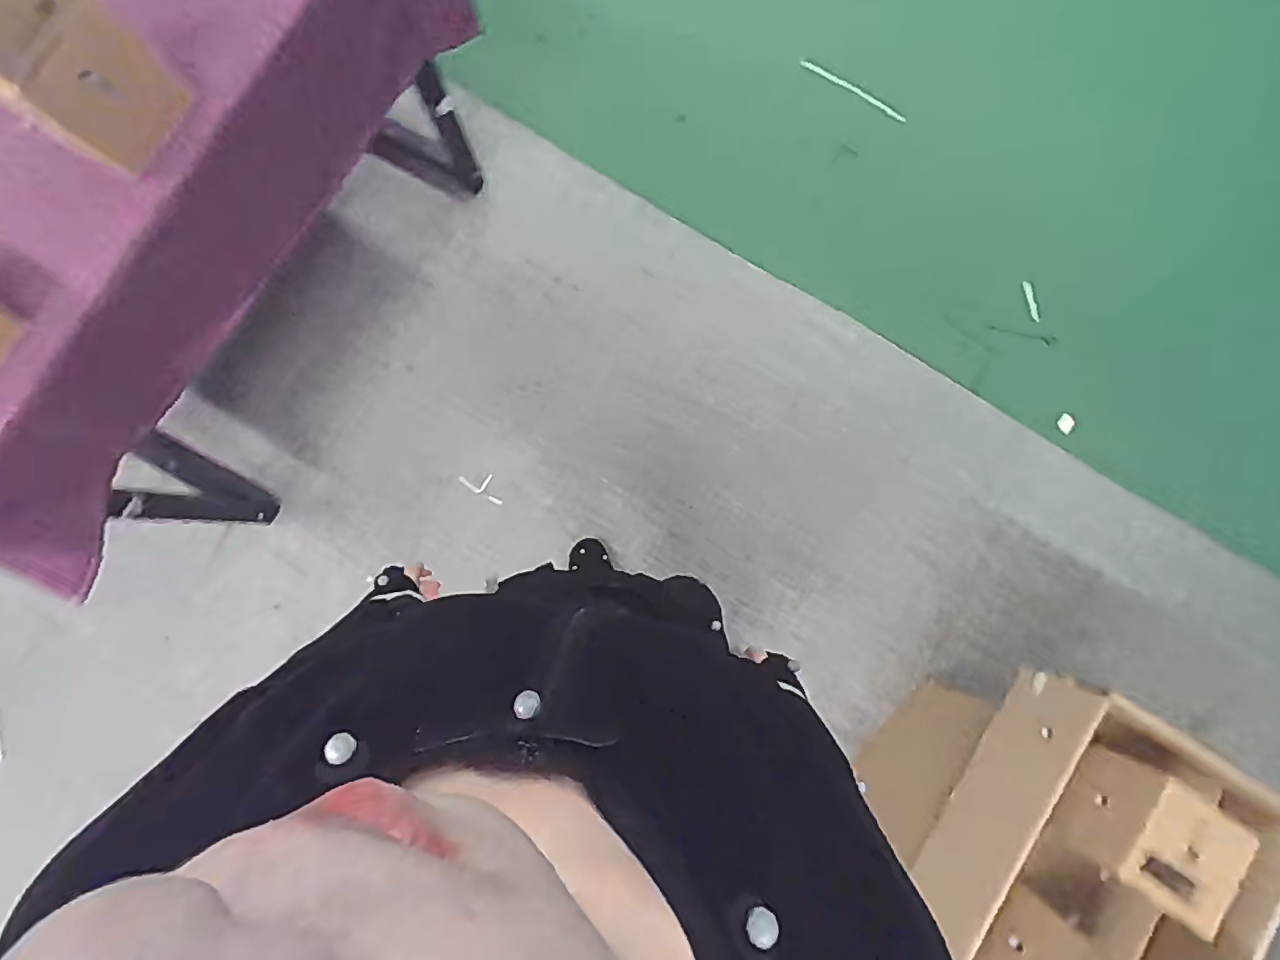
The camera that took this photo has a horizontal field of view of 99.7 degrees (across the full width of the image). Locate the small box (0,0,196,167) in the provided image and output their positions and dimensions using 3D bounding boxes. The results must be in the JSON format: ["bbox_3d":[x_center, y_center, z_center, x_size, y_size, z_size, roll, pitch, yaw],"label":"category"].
[{"bbox_3d":[-0.792,-0.591,0.759,0.168,0.176,0.179,32,84,2],"label":"small box"}]

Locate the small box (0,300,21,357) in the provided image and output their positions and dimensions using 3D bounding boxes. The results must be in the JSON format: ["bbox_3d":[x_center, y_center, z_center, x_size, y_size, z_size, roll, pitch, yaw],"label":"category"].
[{"bbox_3d":[-1.016,-0.215,0.718,0.168,0.176,0.179,30,83,2],"label":"small box"}]

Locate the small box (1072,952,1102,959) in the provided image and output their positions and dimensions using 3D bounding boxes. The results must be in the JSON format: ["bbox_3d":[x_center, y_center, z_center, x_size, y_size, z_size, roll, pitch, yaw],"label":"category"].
[{"bbox_3d":[0.688,0.811,0.738,0.179,0.176,0.168,37,85,1],"label":"small box"}]
